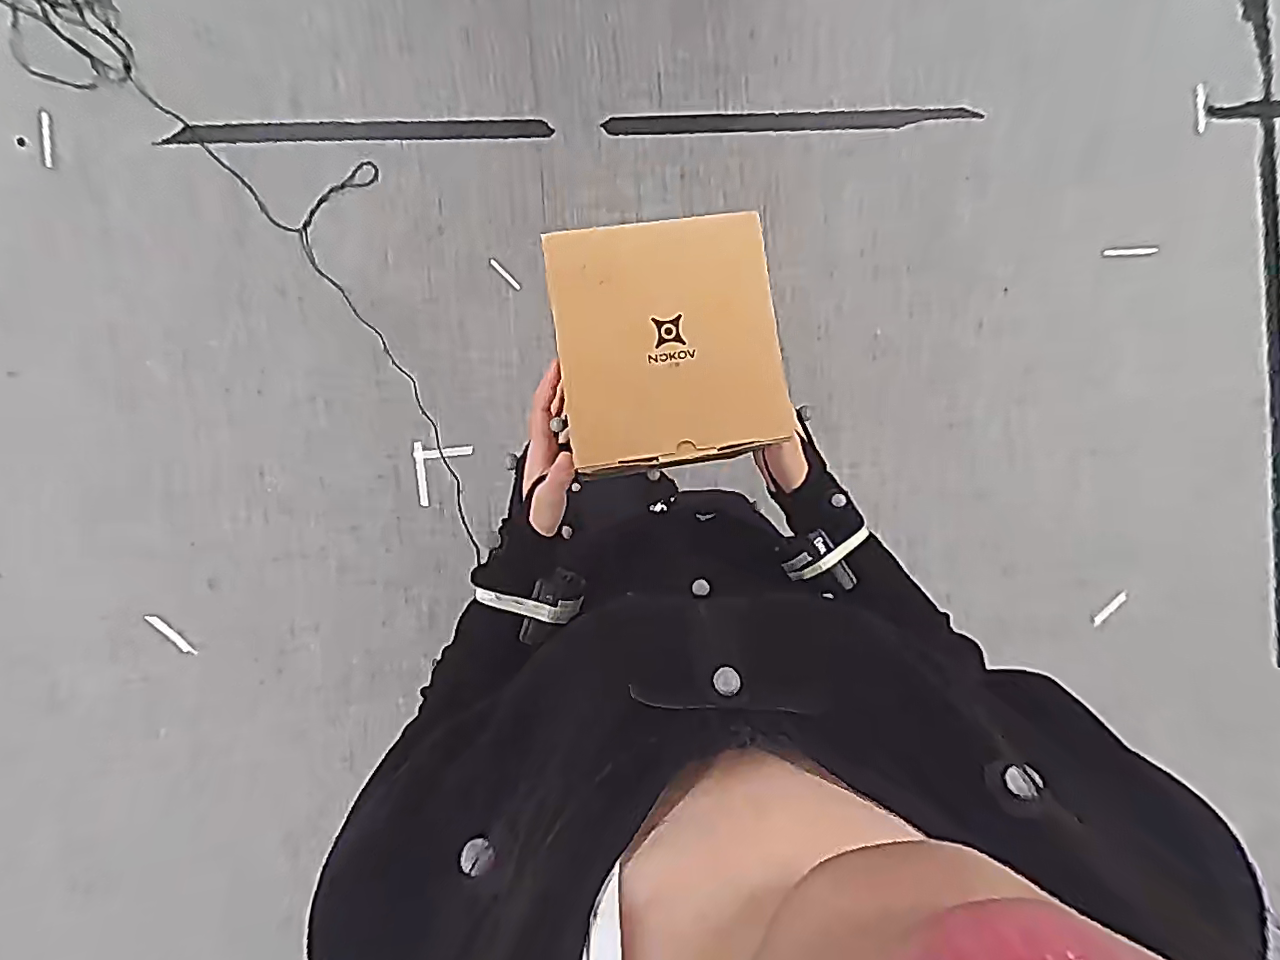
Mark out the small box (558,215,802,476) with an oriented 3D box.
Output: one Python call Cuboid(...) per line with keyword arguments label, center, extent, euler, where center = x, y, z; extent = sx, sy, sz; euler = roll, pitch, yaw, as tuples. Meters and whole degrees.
Cuboid(label="small box", center=(0.023, -0.102, 0.479), extent=(0.168, 0.176, 0.179), euler=(-9, 89, -5))
